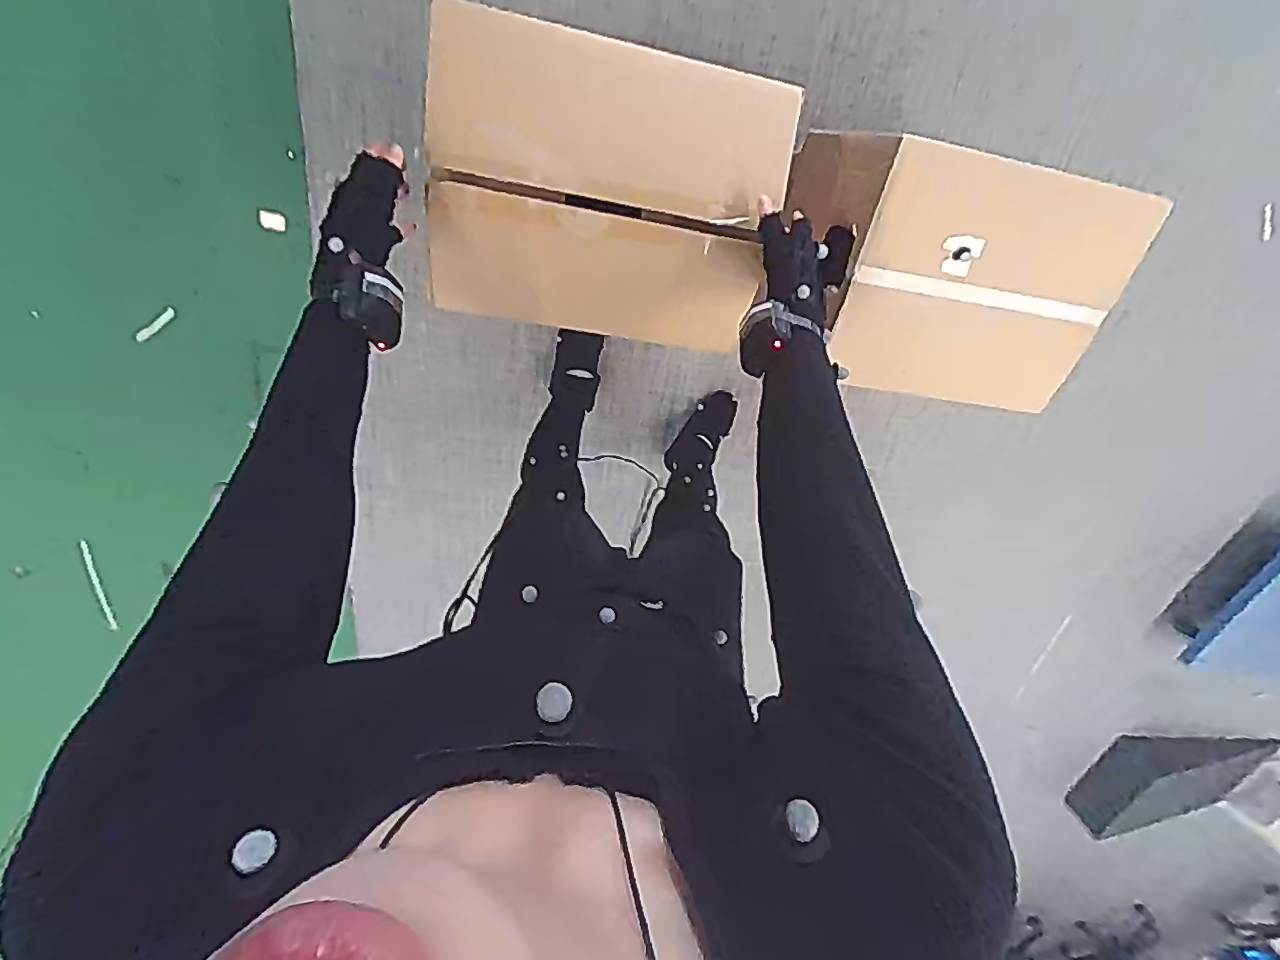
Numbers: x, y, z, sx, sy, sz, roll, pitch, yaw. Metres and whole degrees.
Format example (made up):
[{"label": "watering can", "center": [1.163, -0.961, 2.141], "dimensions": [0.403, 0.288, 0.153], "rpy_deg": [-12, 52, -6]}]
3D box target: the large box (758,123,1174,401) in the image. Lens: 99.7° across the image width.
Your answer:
[{"label": "large box", "center": [0.454, -0.349, 0.862], "dimensions": [0.408, 0.320, 0.320], "rpy_deg": [6, 122, -9]}]
